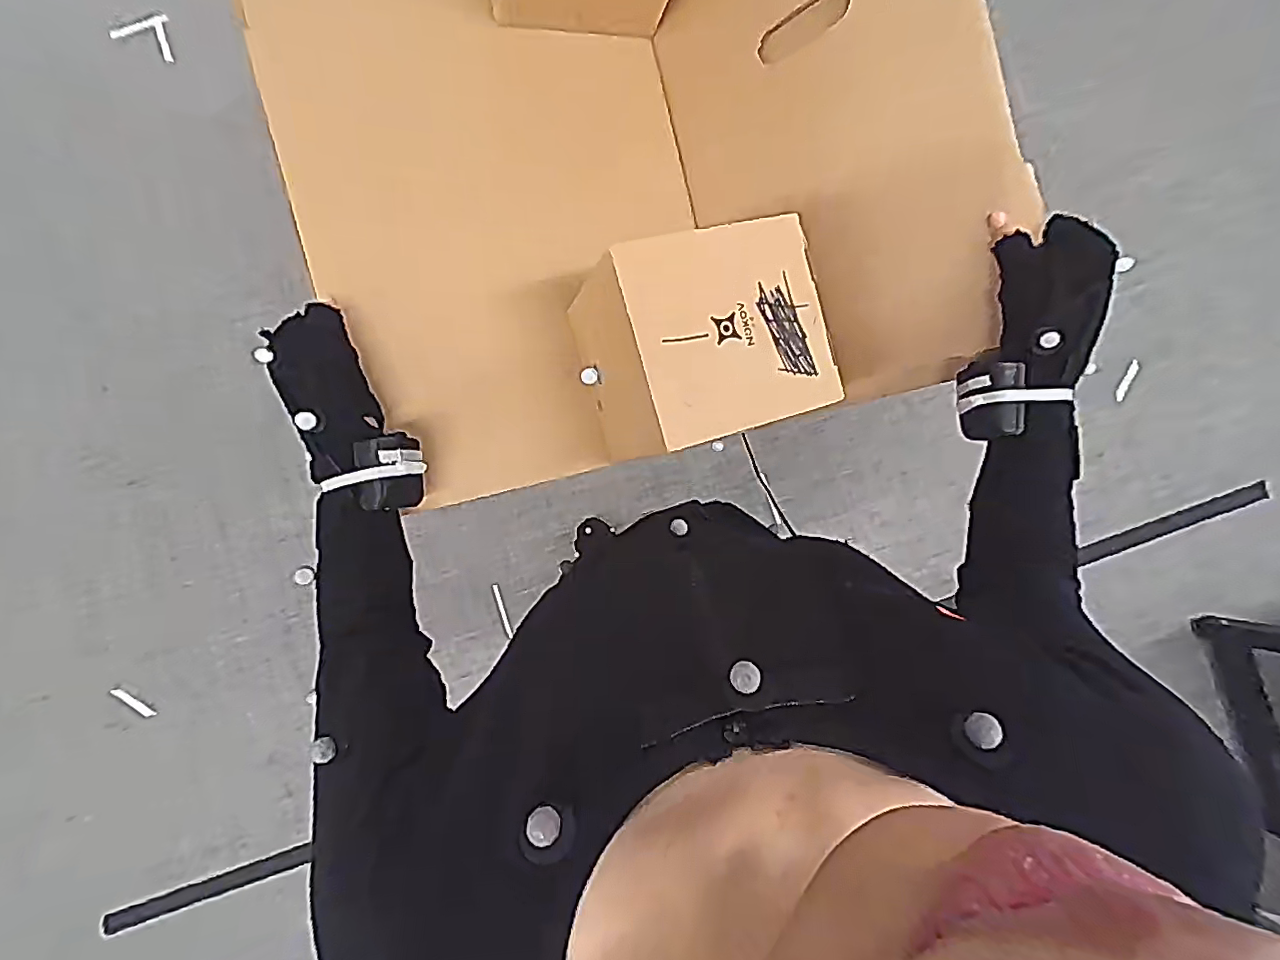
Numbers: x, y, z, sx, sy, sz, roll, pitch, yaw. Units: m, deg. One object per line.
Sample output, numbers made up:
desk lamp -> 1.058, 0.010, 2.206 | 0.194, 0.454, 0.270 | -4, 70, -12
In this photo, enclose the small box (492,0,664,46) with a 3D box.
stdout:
small box -> -0.057, -0.552, 0.503 | 0.179, 0.176, 0.168 | -11, 91, -19
